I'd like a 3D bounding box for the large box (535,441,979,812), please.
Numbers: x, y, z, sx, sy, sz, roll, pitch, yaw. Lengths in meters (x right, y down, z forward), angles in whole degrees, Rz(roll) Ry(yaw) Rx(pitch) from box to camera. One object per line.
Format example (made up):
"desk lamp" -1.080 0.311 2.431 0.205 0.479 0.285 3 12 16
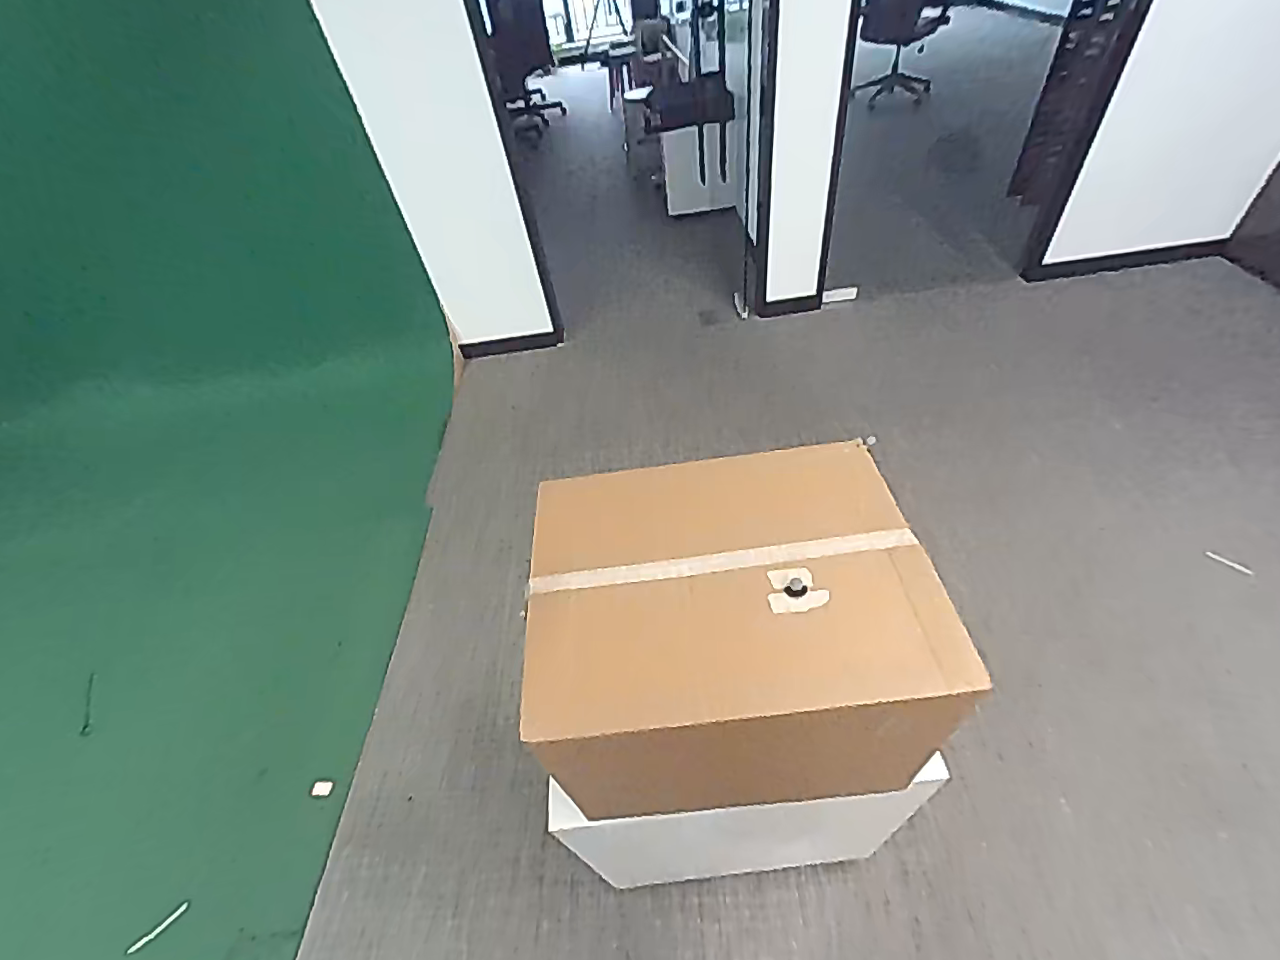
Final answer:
"large box" 0.103 0.188 0.681 0.408 0.320 0.320 -7 47 1
